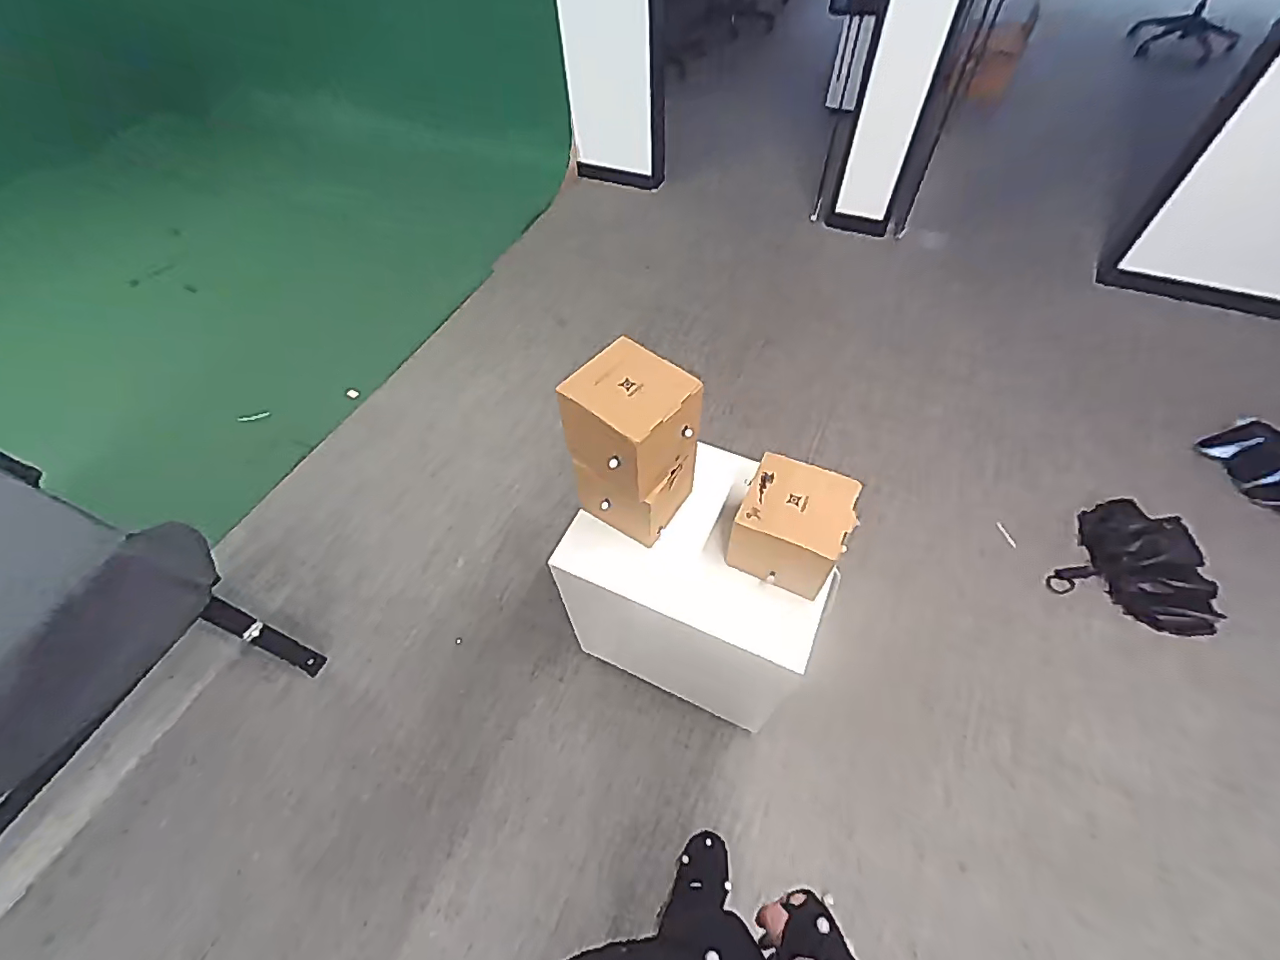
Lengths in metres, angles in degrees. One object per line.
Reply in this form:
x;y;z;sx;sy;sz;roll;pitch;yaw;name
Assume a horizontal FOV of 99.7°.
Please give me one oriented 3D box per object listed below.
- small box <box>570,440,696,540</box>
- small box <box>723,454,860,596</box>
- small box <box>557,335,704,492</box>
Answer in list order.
-0.011;-0.008;1.042;0.179;0.176;0.168;29;59;19;small box
0.266;0.088;0.976;0.179;0.176;0.168;23;58;15;small box
-0.015;-0.104;0.912;0.179;0.176;0.168;35;60;22;small box
